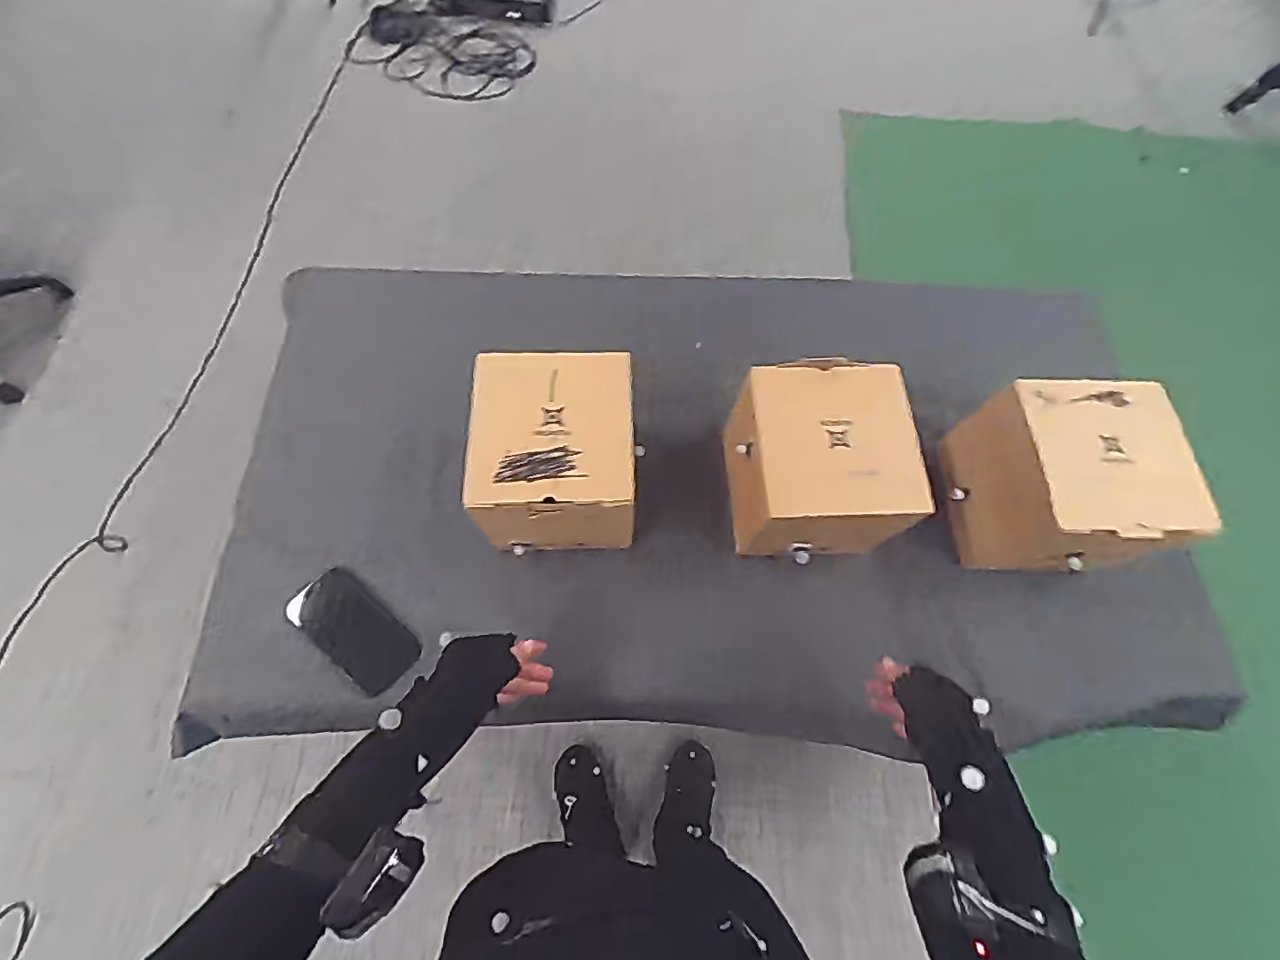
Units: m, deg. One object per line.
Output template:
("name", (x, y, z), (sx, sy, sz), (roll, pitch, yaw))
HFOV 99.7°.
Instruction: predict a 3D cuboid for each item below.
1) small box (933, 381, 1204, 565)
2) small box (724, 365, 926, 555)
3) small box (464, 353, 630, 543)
("small box", (0.483, 0.001, 0.644), (0.168, 0.176, 0.179), (1, 69, -3))
("small box", (0.200, -0.017, 0.642), (0.168, 0.176, 0.179), (-2, 69, -2))
("small box", (-0.094, -0.027, 0.630), (0.168, 0.176, 0.179), (-1, 67, -3))
